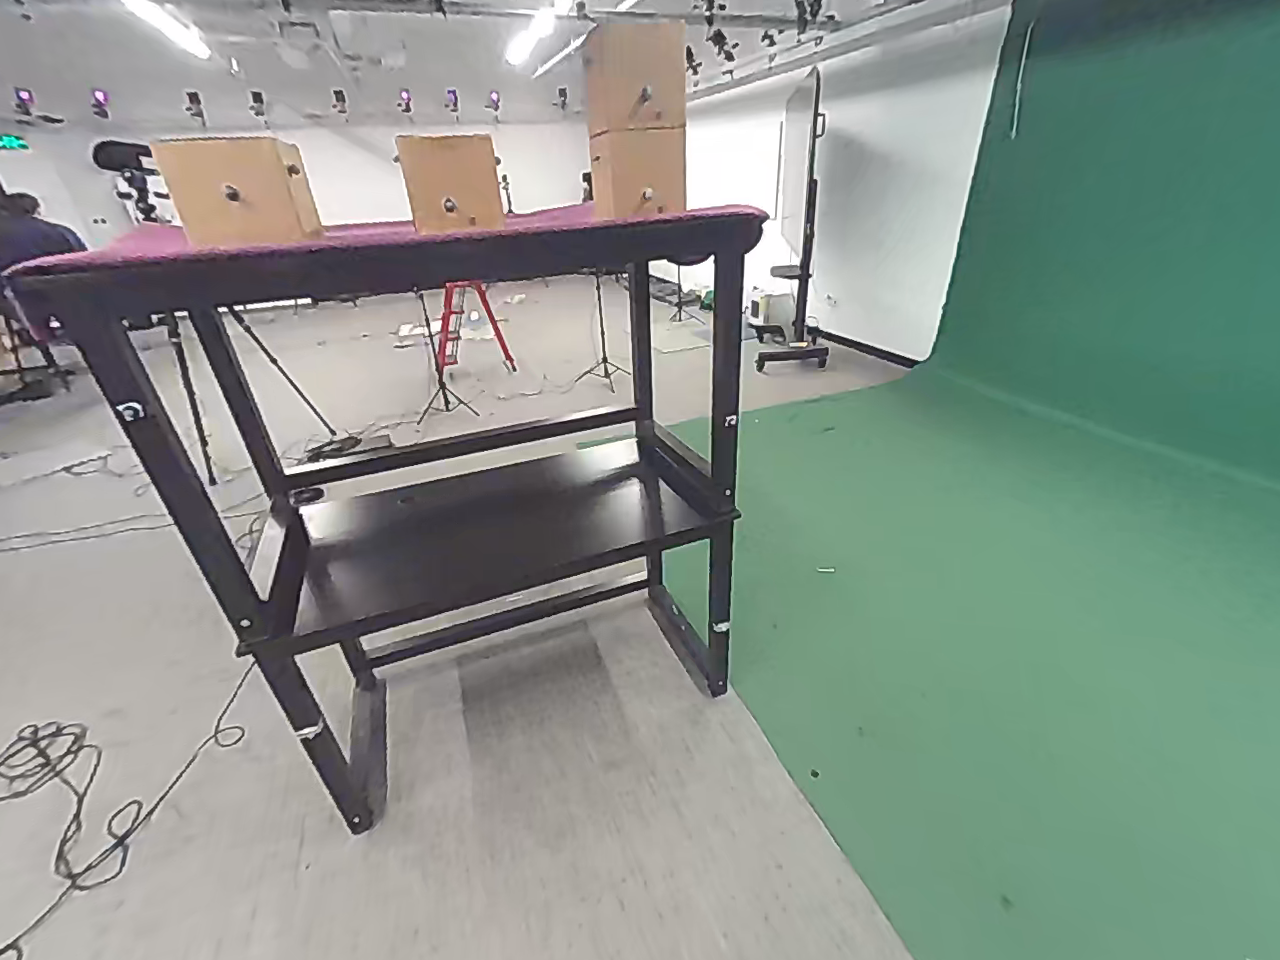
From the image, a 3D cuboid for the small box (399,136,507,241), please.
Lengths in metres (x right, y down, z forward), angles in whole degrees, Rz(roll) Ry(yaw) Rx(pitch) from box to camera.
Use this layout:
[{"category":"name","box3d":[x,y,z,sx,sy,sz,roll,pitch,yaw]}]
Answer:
[{"category":"small box","box3d":[-0.363,-0.570,1.066,0.168,0.176,0.179,-12,29,-14]}]

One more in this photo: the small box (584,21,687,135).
[{"category":"small box","box3d":[-0.012,-0.800,1.094,0.168,0.176,0.179,-12,31,-13]}]

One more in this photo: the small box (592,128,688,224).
[{"category":"small box","box3d":[-0.001,-0.656,1.173,0.168,0.176,0.179,-12,31,-13]}]
